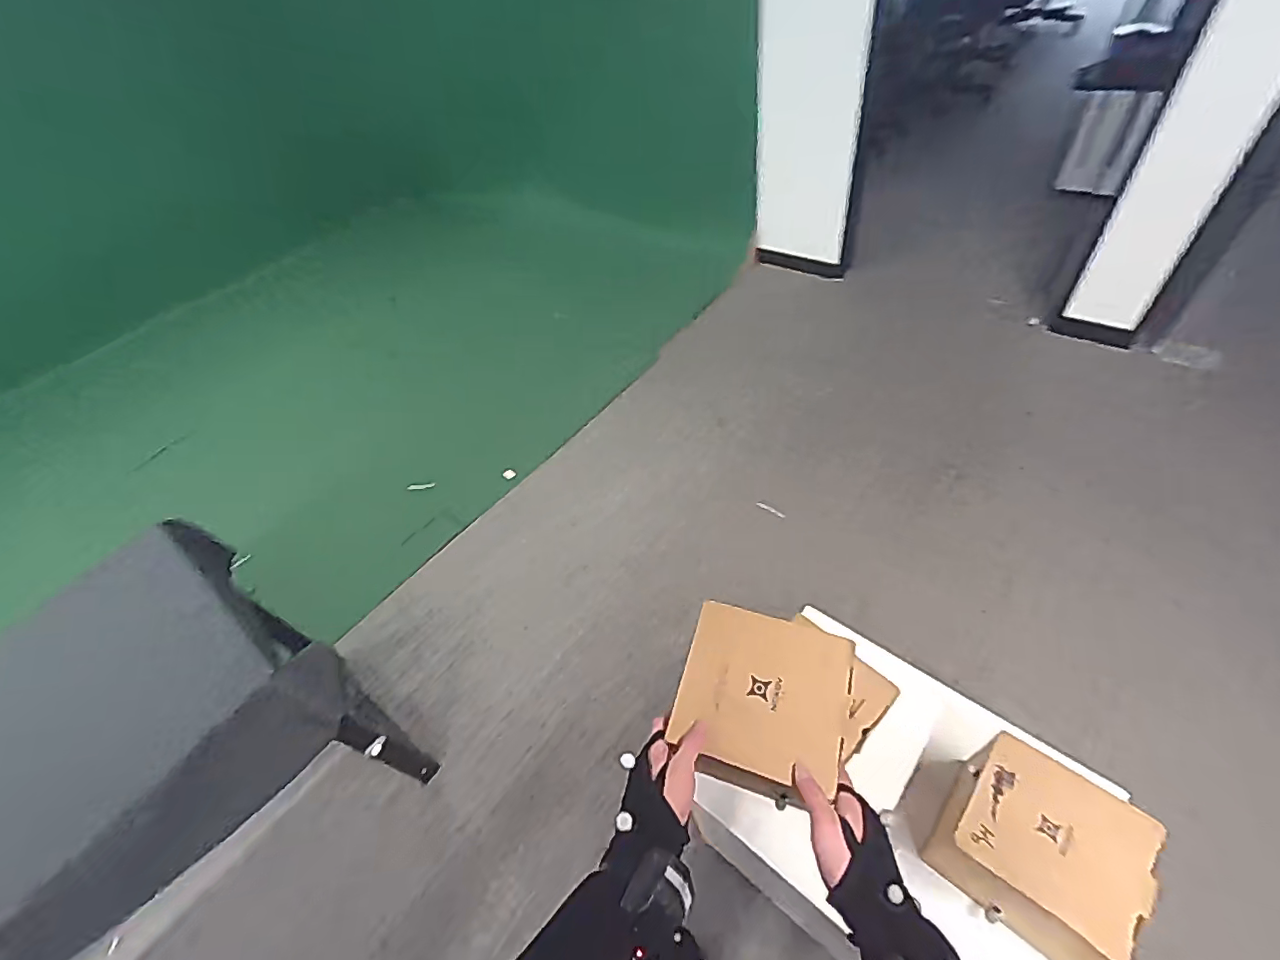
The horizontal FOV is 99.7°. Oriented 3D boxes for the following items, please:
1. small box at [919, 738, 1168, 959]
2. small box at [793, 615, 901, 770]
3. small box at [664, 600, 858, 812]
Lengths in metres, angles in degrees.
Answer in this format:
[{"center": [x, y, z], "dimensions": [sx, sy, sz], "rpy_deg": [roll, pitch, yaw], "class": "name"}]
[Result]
[{"center": [0.490, 0.469, 0.681], "dimensions": [0.179, 0.176, 0.168], "rpy_deg": [31, 60, 30], "class": "small box"}, {"center": [0.254, 0.348, 0.821], "dimensions": [0.168, 0.176, 0.179], "rpy_deg": [-36, 54, -22], "class": "small box"}, {"center": [0.138, 0.267, 0.630], "dimensions": [0.179, 0.176, 0.168], "rpy_deg": [11, 55, 16], "class": "small box"}]
